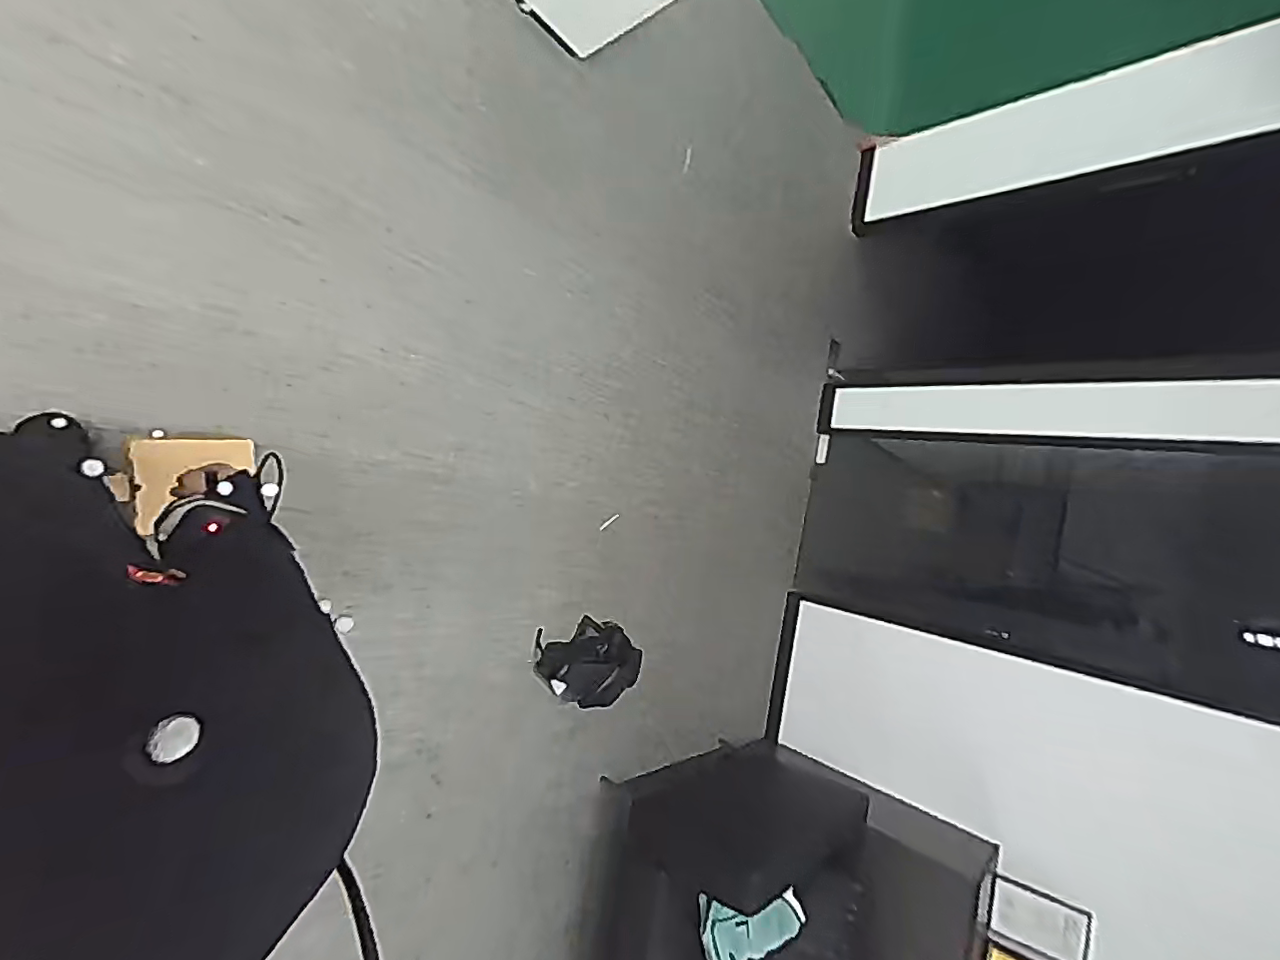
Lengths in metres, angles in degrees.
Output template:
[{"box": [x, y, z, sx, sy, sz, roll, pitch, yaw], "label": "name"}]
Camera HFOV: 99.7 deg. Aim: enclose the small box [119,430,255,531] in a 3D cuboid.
[{"box": [-0.864, -0.008, 1.032, 0.179, 0.176, 0.168, -6, 101, -46], "label": "small box"}]
